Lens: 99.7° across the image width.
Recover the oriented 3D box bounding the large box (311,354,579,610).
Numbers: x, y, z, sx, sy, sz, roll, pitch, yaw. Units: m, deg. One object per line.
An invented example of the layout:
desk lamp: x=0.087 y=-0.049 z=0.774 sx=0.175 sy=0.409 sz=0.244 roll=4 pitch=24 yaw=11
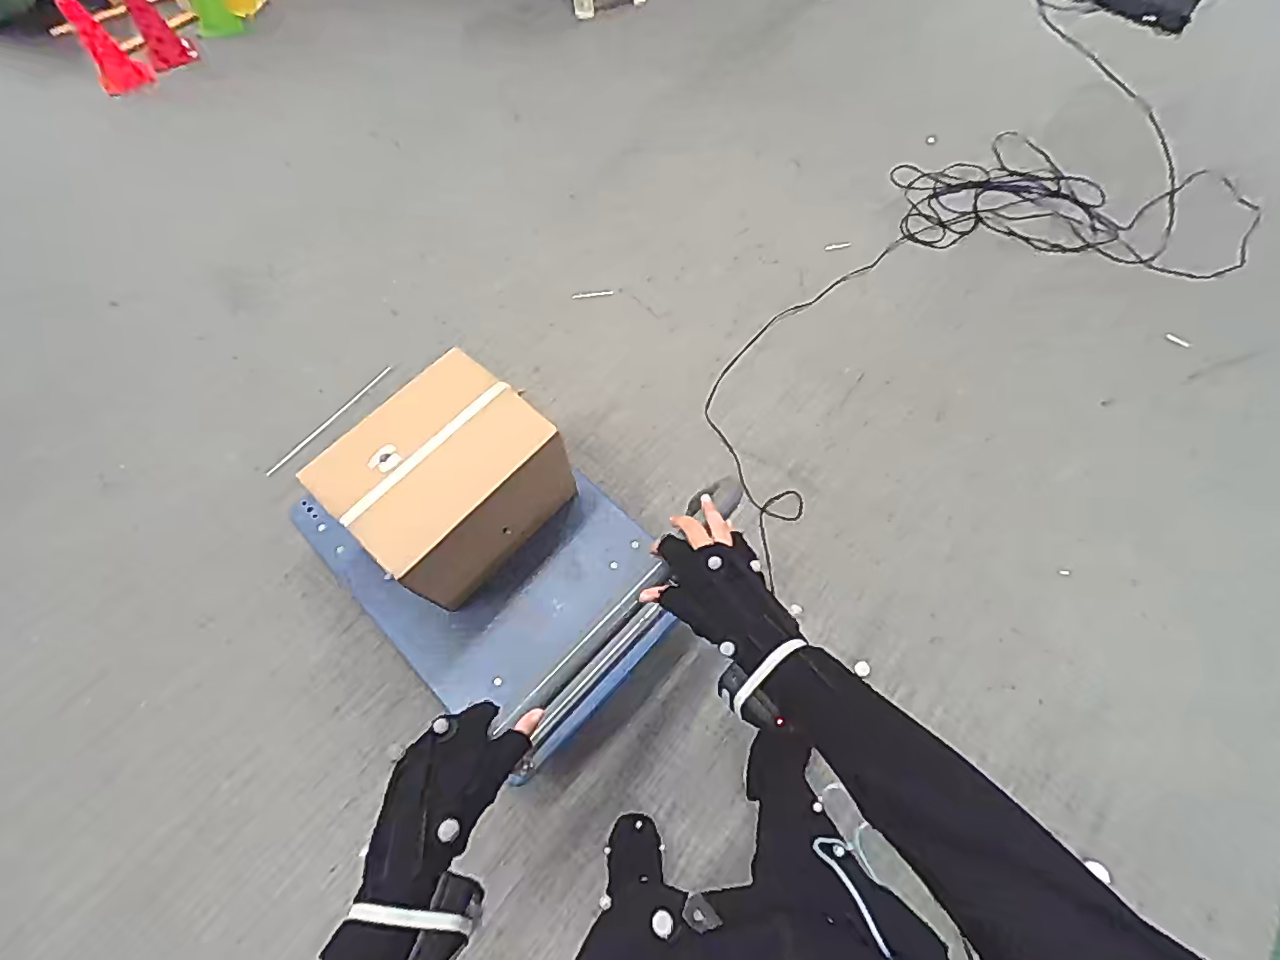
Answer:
large box: x=-0.391 y=0.015 z=1.194 sx=0.320 sy=0.320 sz=0.408 roll=38 pitch=73 yaw=17
